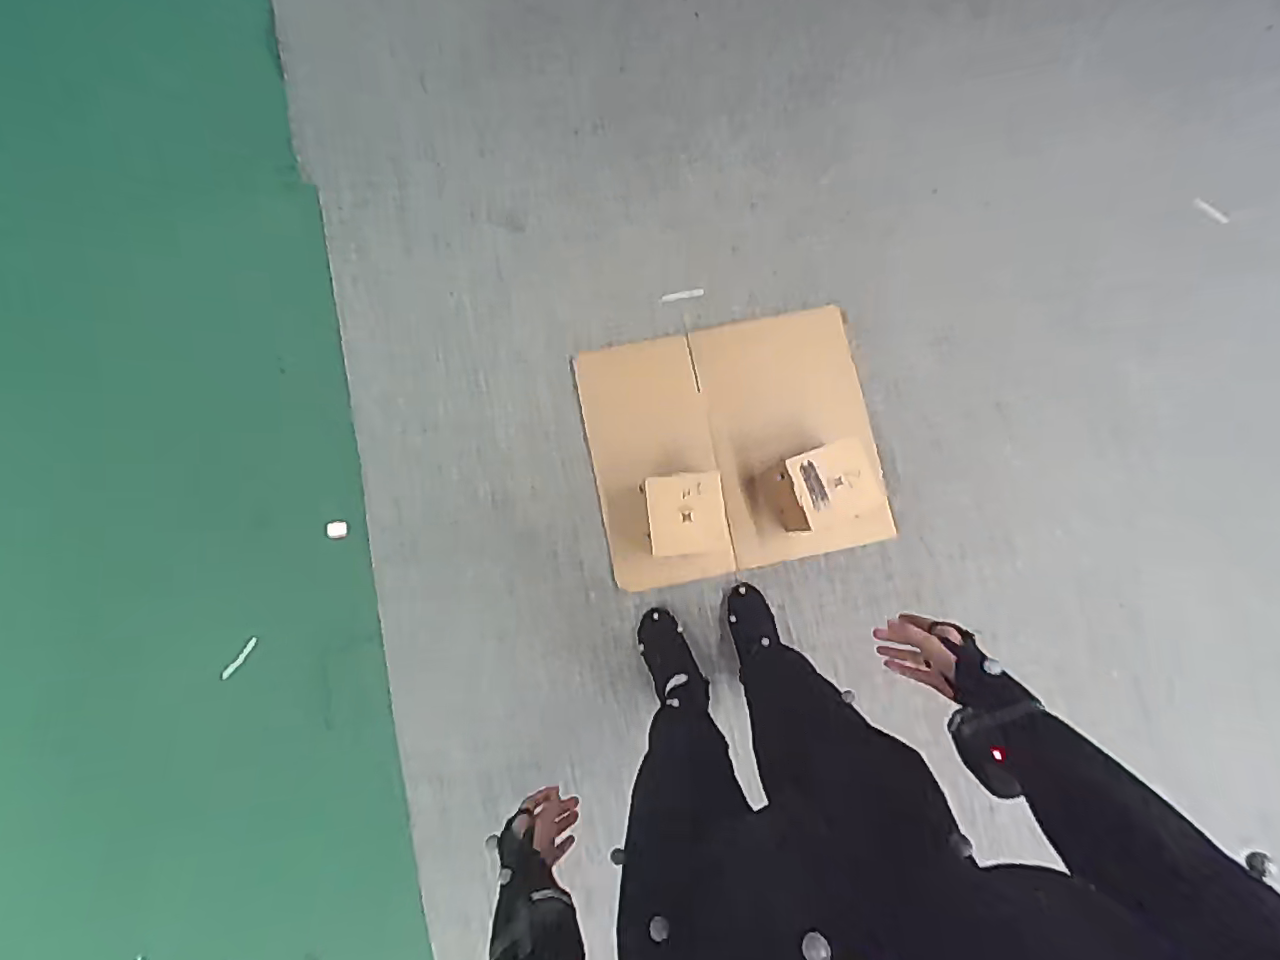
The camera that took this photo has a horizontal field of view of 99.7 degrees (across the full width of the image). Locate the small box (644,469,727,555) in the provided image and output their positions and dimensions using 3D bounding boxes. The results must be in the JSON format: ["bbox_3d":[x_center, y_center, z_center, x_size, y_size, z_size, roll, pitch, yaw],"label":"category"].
[{"bbox_3d":[0.098,0.075,1.239,0.168,0.176,0.179,-5,84,-2],"label":"small box"}]
